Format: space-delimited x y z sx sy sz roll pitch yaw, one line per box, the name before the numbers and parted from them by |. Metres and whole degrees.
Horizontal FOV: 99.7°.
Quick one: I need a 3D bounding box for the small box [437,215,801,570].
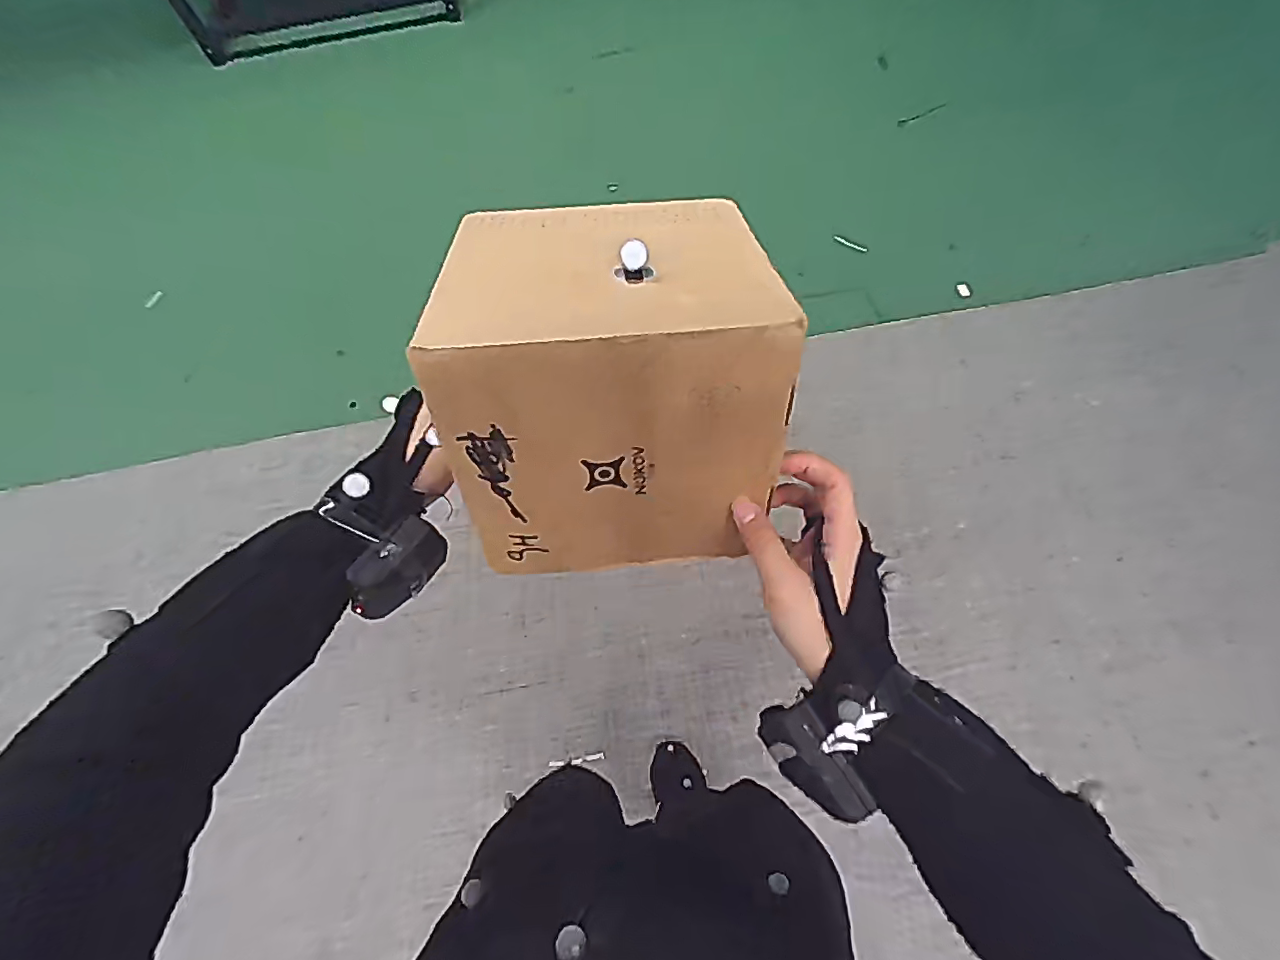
small box | -0.016 -0.063 0.362 0.179 0.168 0.176 -6 44 -3
